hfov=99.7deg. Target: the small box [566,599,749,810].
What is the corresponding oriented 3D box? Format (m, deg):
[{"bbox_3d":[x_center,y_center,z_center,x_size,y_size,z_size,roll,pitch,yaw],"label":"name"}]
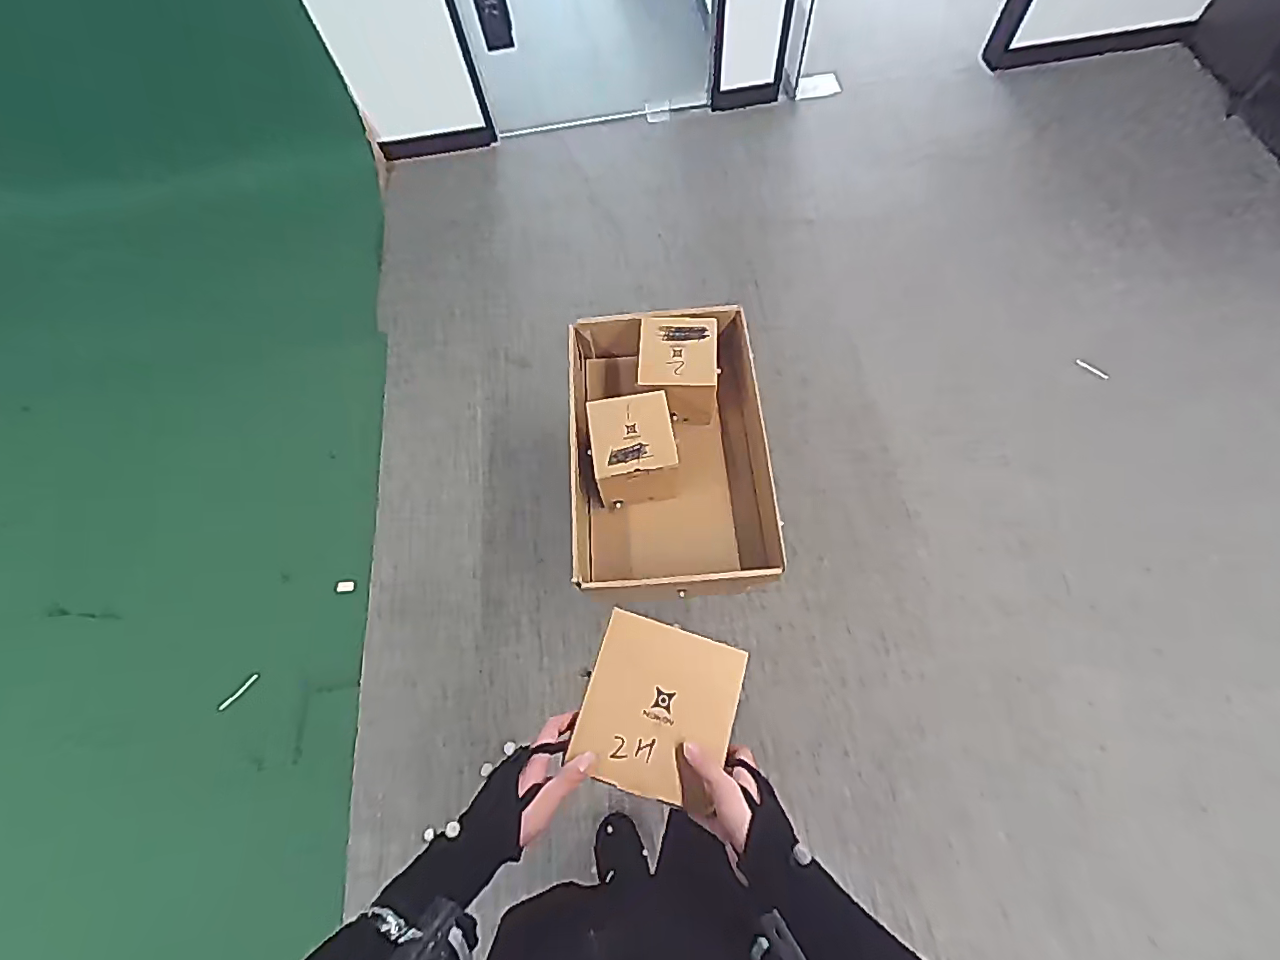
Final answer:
[{"bbox_3d":[0.014,0.264,0.661,0.168,0.176,0.179,19,70,0],"label":"small box"}]
